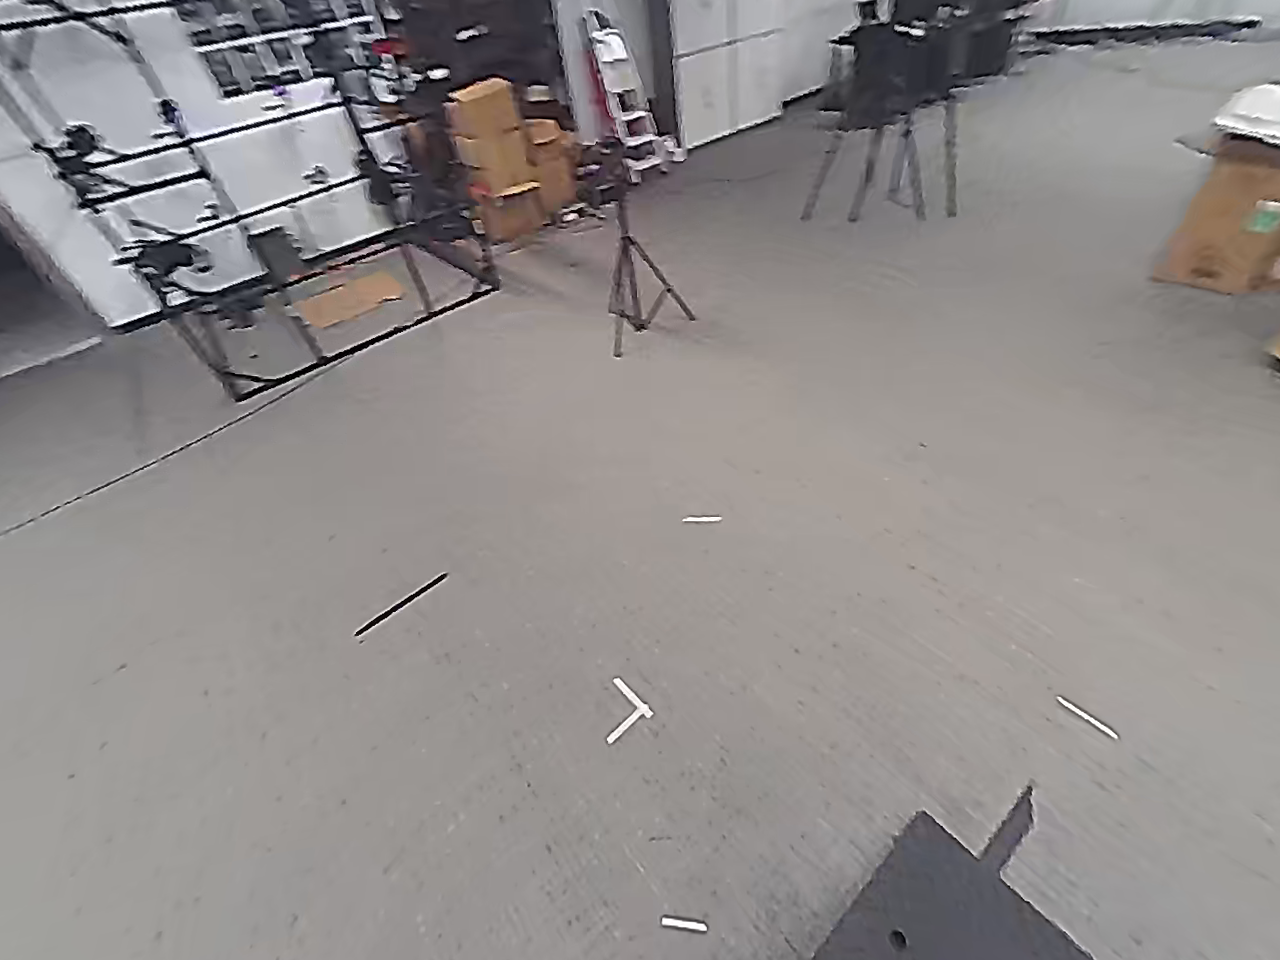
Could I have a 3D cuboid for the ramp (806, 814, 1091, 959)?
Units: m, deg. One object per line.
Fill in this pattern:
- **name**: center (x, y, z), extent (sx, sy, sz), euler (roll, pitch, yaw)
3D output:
- **ramp**: center (0.483, 1.149, 0.987), extent (0.991, 0.206, 0.509), euler (-36, 46, -25)
